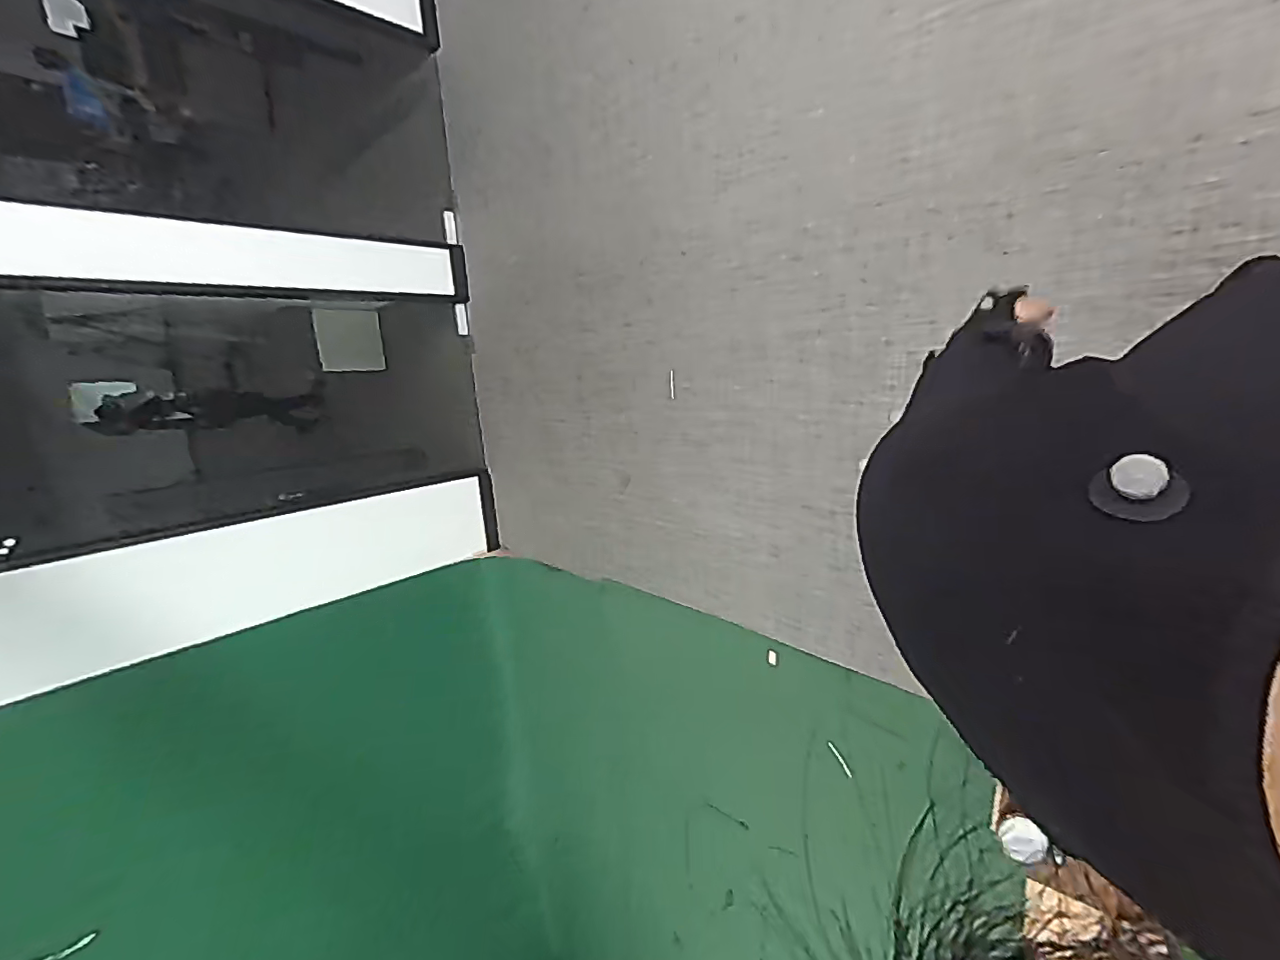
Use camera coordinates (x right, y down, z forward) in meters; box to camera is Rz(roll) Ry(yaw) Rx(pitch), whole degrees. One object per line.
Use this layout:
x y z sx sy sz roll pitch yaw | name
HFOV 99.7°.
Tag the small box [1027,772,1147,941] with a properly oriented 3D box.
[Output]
0.875 0.721 1.059 0.168 0.176 0.179 3 100 43 | small box
